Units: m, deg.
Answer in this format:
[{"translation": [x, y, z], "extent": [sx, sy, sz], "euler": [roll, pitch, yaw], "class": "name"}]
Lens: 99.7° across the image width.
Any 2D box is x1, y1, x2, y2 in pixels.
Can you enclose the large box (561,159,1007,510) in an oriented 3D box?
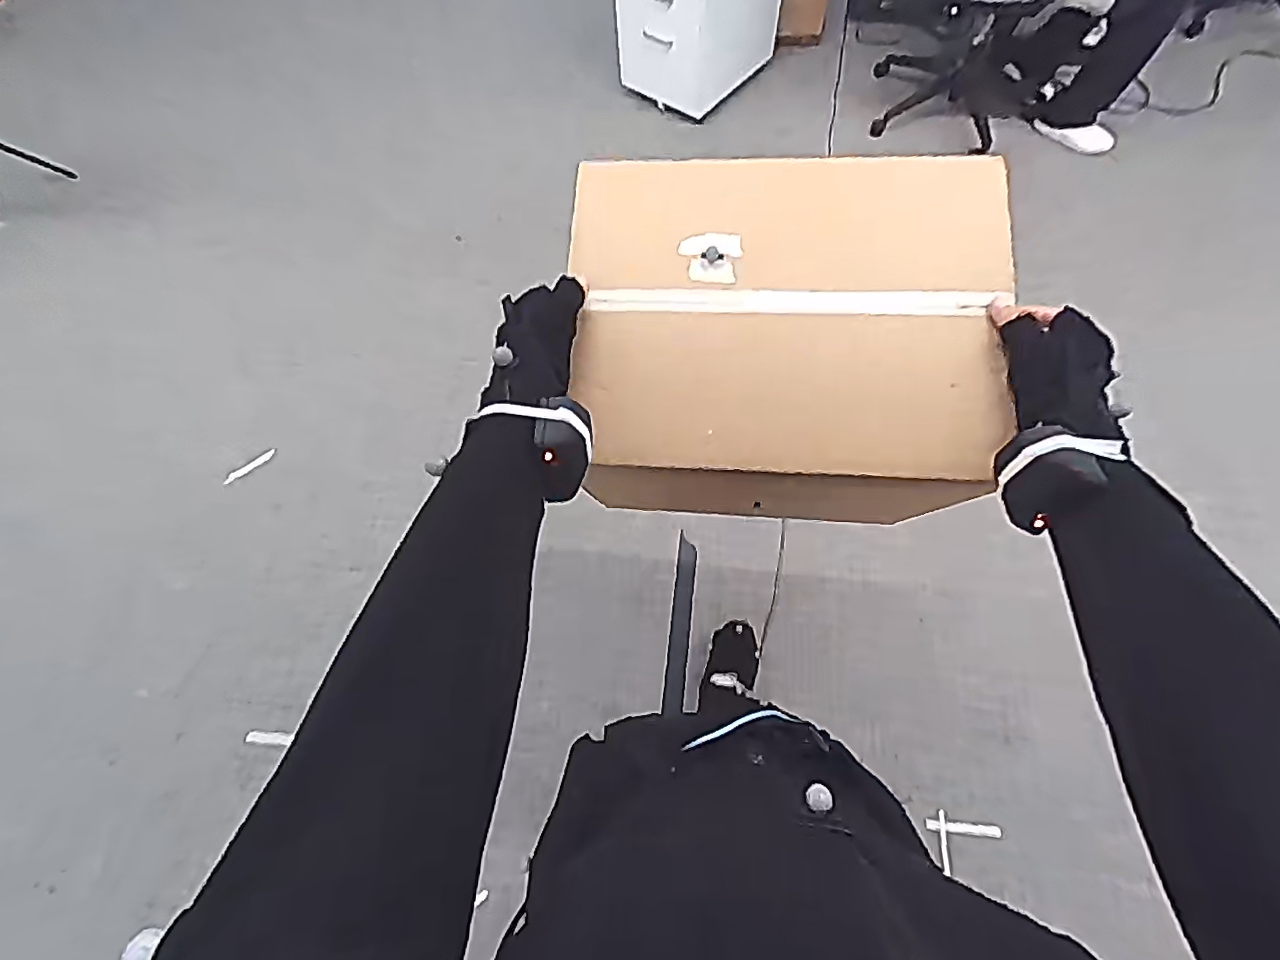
[{"translation": [0.148, -0.137, 0.661], "extent": [0.408, 0.320, 0.320], "euler": [3, 79, 8], "class": "large box"}]
